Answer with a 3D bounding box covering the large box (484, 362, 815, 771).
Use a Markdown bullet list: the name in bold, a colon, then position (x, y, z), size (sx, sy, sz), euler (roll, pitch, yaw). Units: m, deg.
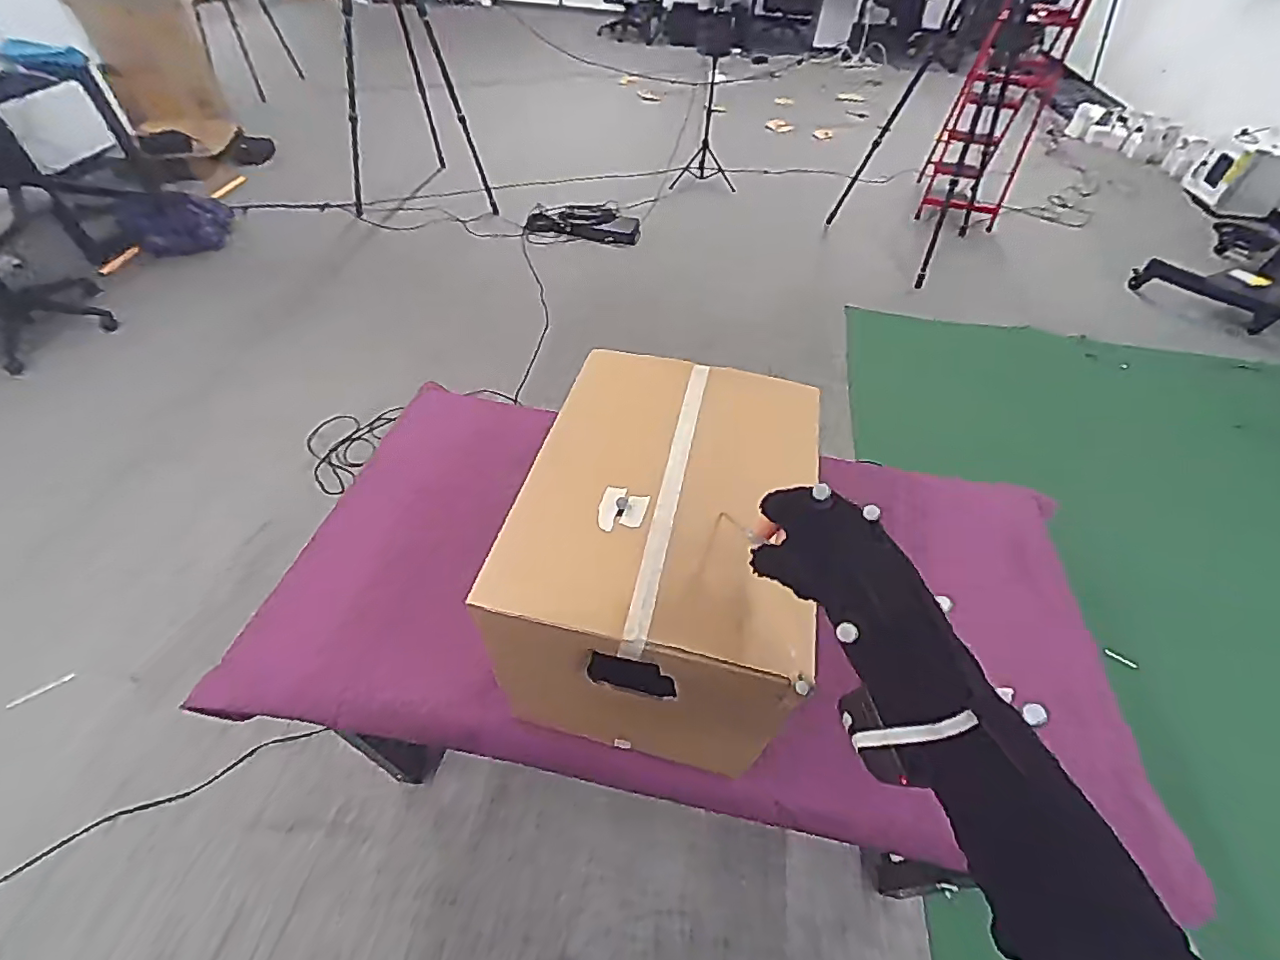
- **large box**: position (0.033, 0.106, 0.727), size (0.320, 0.320, 0.408), euler (12, 50, 7)
